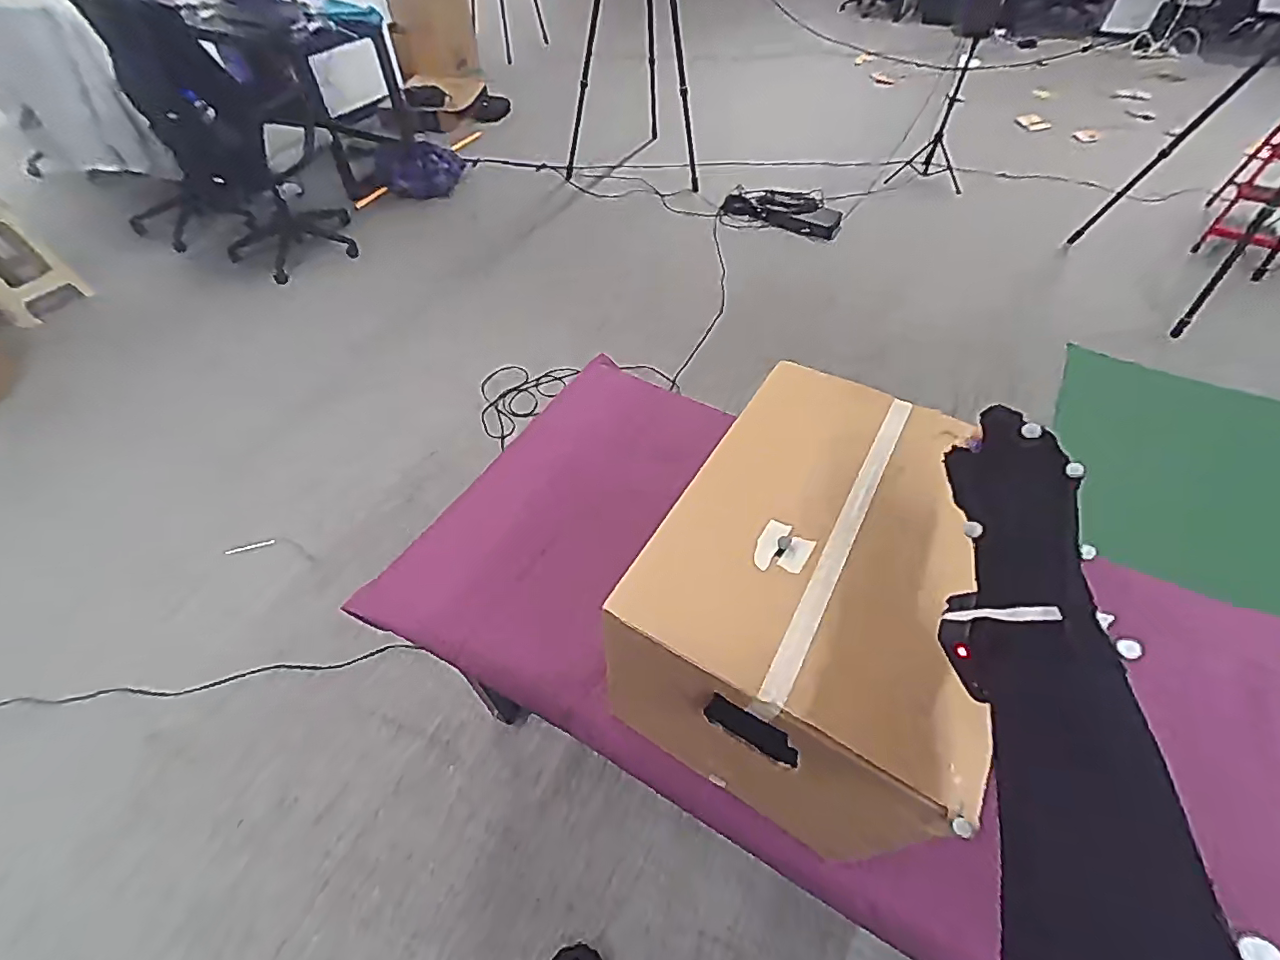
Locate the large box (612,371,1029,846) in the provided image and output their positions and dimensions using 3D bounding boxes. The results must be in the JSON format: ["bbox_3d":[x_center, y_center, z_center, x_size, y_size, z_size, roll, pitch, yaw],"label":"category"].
[{"bbox_3d":[0.201,0.145,0.662,0.320,0.320,0.408,27,56,19],"label":"large box"}]
